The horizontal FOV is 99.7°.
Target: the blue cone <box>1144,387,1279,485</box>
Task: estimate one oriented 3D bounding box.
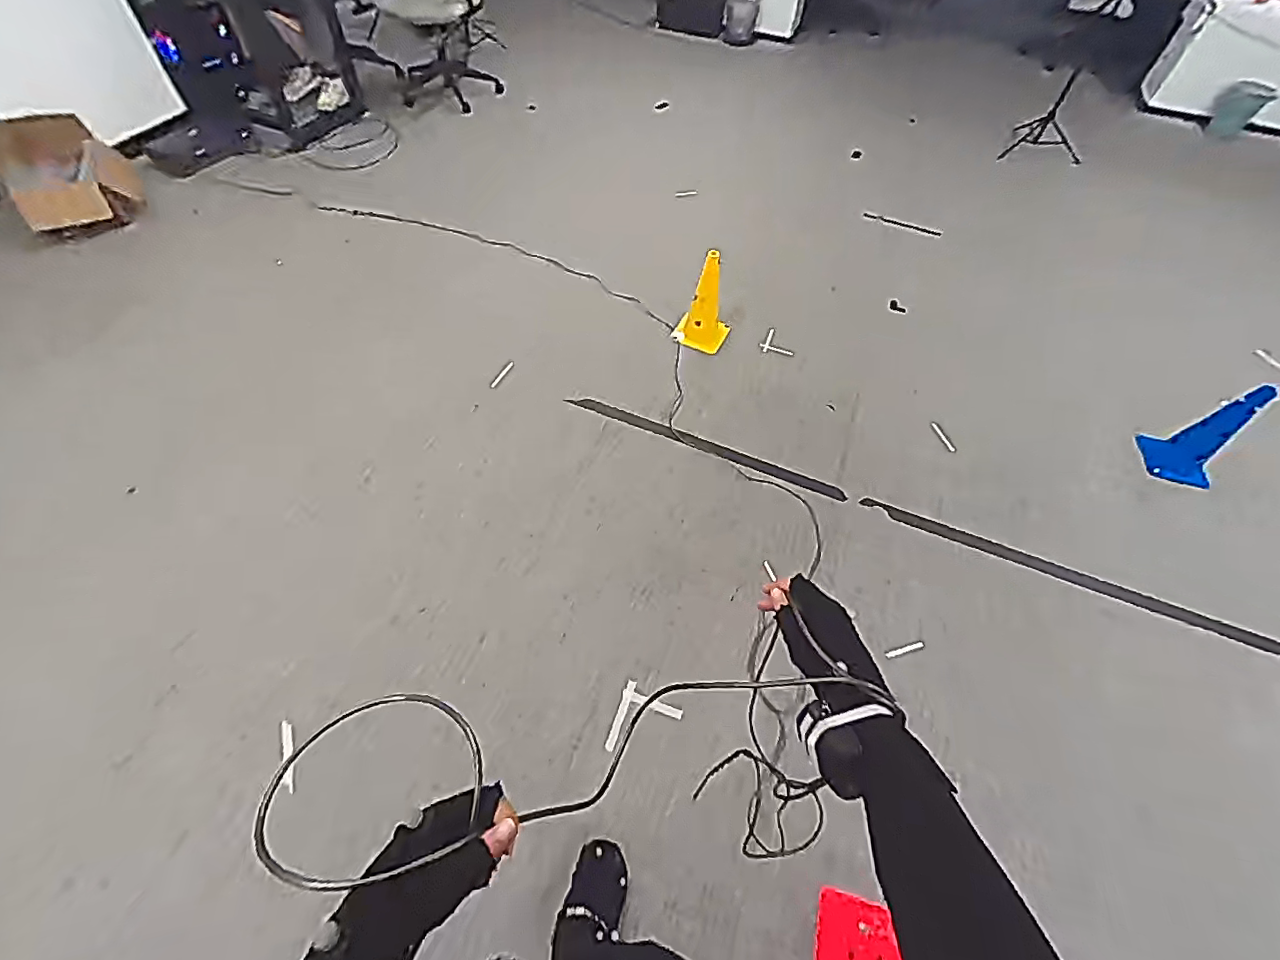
[{"bbox_3d":[1.903,-0.168,1.775,0.193,0.380,0.192,16,55,8],"label":"blue cone"}]

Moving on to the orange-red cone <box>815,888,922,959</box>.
[{"bbox_3d":[0.463,0.871,0.949,0.199,0.360,0.198,17,56,7],"label":"orange-red cone"}]
